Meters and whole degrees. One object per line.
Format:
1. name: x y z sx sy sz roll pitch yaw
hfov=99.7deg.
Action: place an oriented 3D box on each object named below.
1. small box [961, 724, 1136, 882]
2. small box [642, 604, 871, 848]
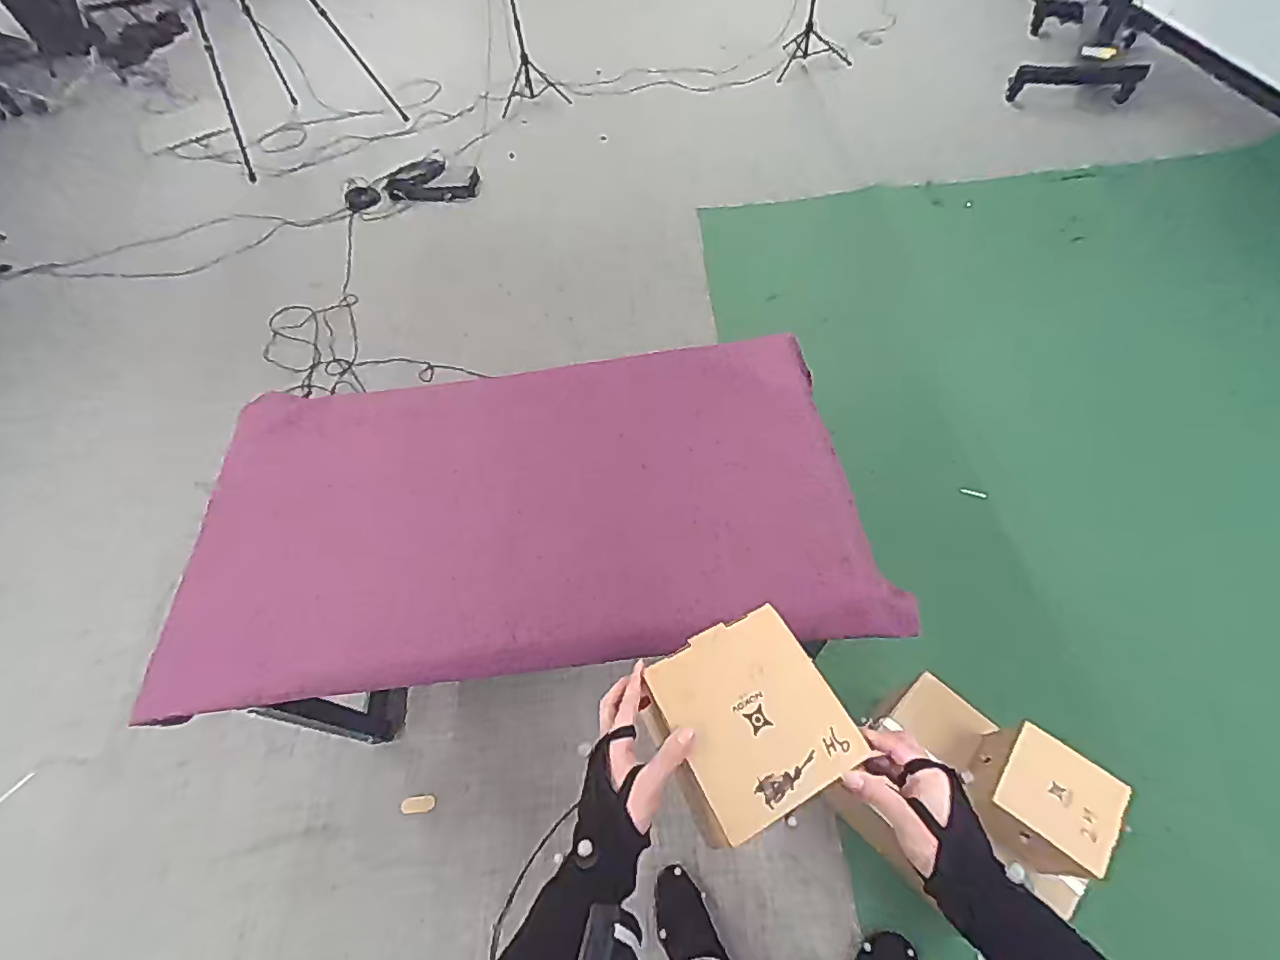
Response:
1. small box: 0.722 0.581 0.976 0.179 0.176 0.168 34 65 23
2. small box: 0.109 0.274 0.600 0.168 0.176 0.179 -22 57 -16
